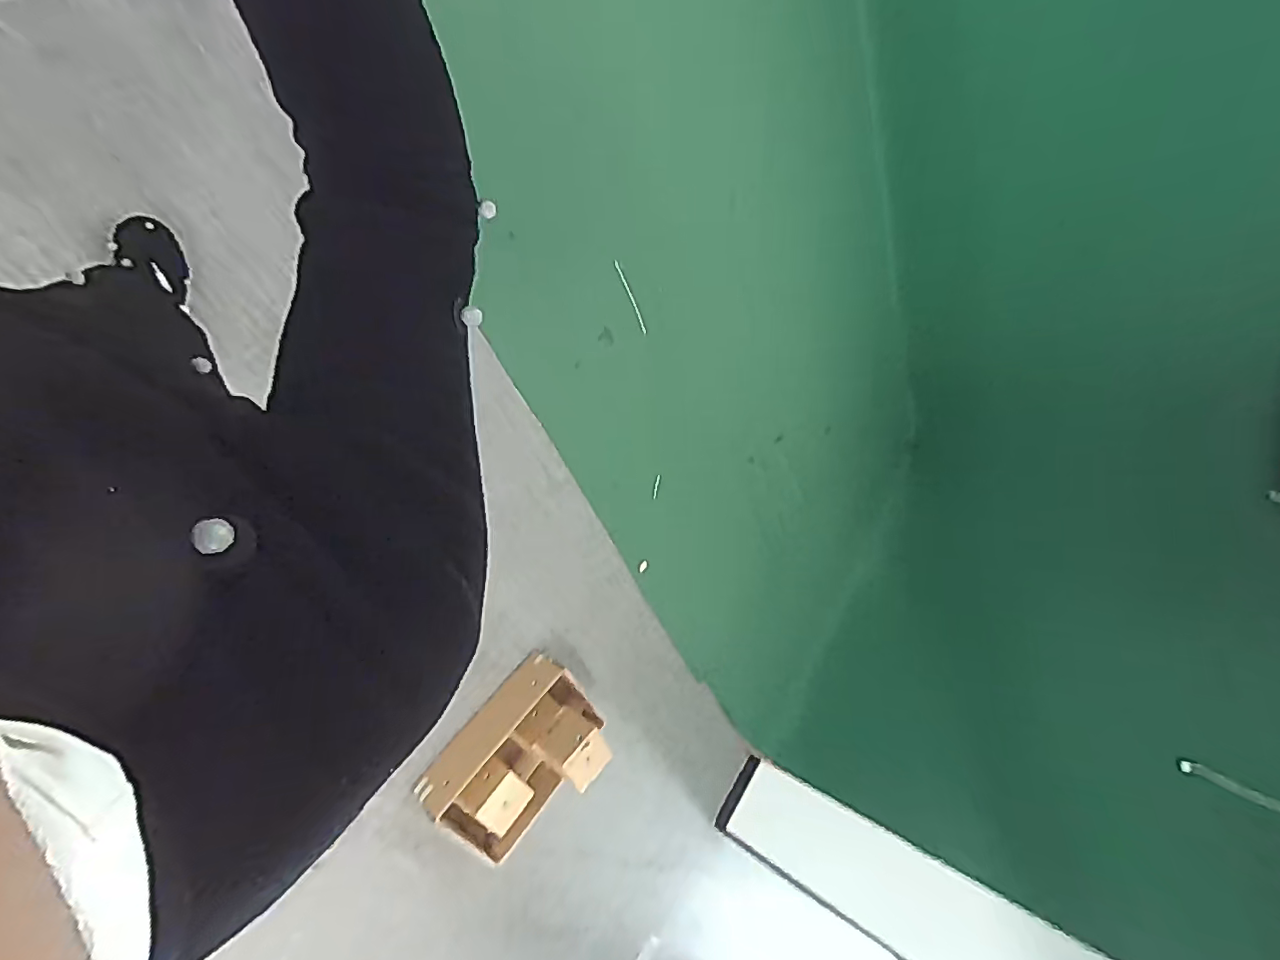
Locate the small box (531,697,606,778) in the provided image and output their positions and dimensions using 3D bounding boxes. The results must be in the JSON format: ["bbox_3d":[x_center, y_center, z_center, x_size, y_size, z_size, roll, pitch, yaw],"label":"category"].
[{"bbox_3d":[-0.258,0.919,1.943,0.168,0.176,0.179,-42,127,-31],"label":"small box"}]

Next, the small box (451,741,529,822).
[{"bbox_3d":[-0.537,1.064,1.926,0.168,0.176,0.179,-48,129,-29],"label":"small box"}]

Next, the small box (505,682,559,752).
[{"bbox_3d":[-0.379,0.895,2.051,0.168,0.176,0.179,-48,129,-27],"label":"small box"}]
